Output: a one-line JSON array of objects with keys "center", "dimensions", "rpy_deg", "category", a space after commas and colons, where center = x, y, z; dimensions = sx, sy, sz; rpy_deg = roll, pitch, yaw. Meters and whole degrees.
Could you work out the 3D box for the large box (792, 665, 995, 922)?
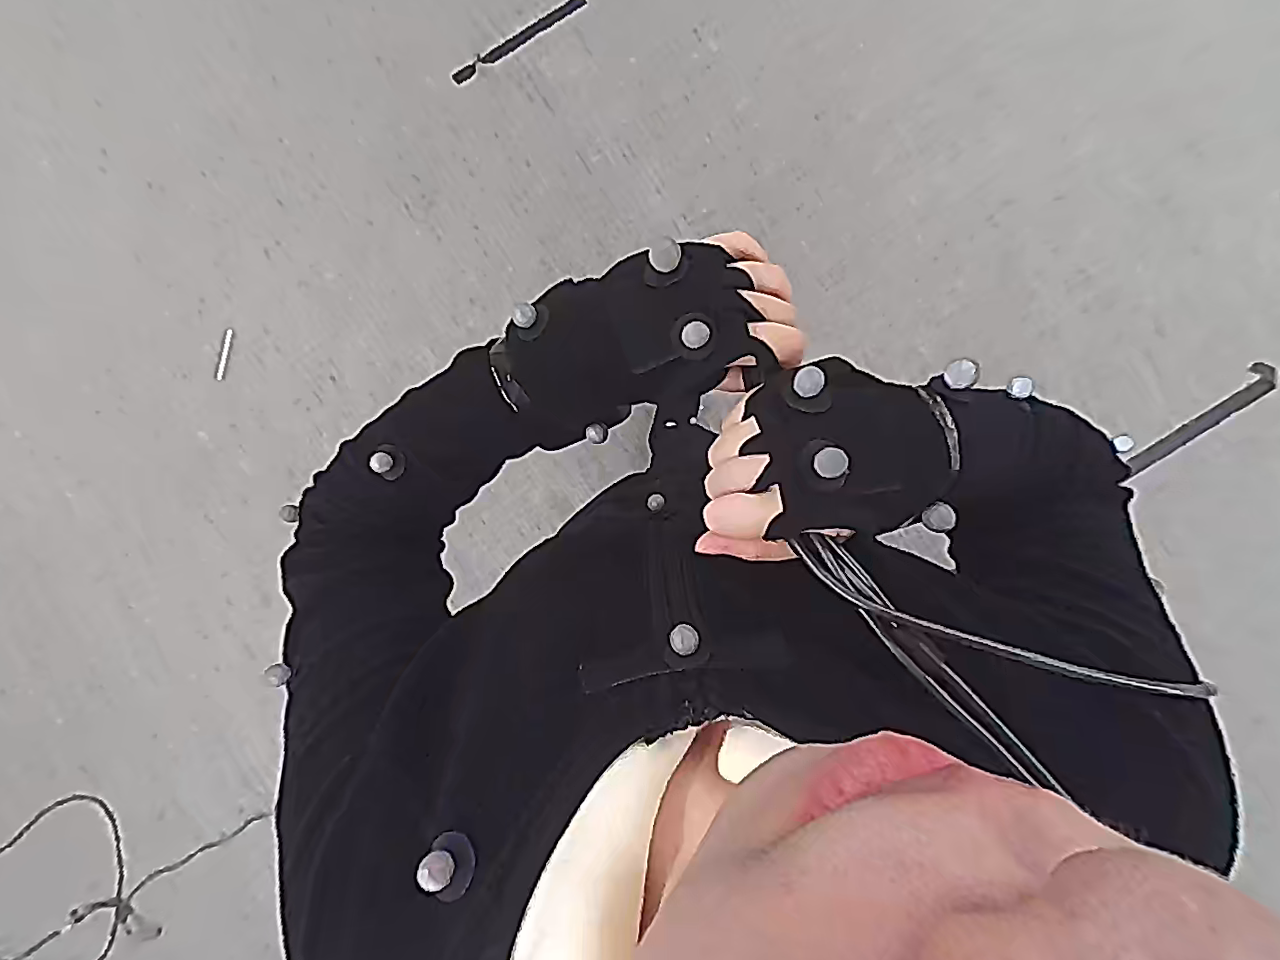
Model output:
[{"center": [0.539, 0.670, 1.215], "dimensions": [0.320, 0.320, 0.408], "rpy_deg": [1, 95, -1], "category": "large box"}]
